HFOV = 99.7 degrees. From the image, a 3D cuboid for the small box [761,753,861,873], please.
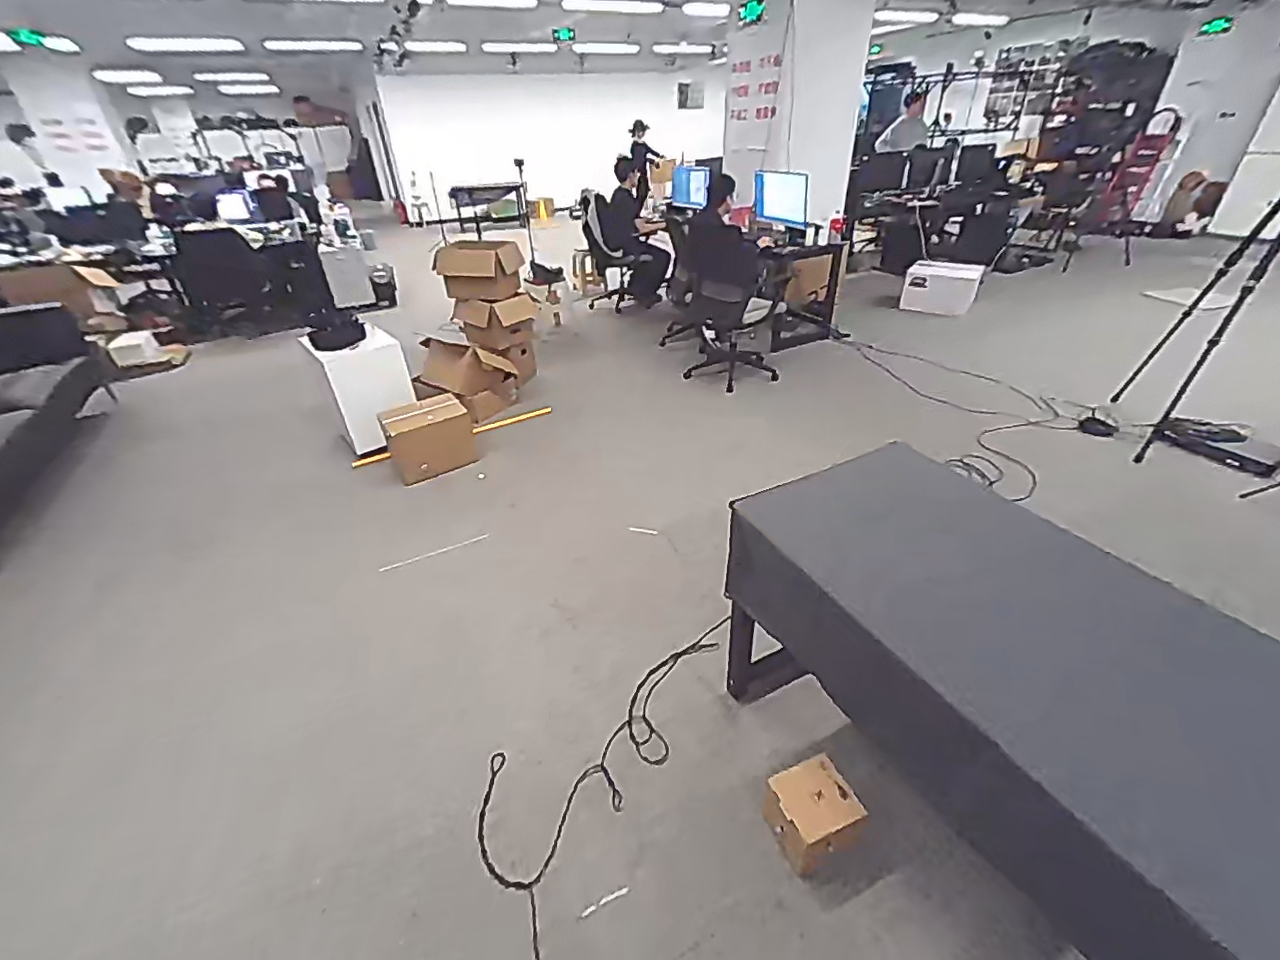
[{"bbox_3d":[0.414,0.826,1.340,0.179,0.176,0.168,-14,34,-17],"label":"small box"}]
